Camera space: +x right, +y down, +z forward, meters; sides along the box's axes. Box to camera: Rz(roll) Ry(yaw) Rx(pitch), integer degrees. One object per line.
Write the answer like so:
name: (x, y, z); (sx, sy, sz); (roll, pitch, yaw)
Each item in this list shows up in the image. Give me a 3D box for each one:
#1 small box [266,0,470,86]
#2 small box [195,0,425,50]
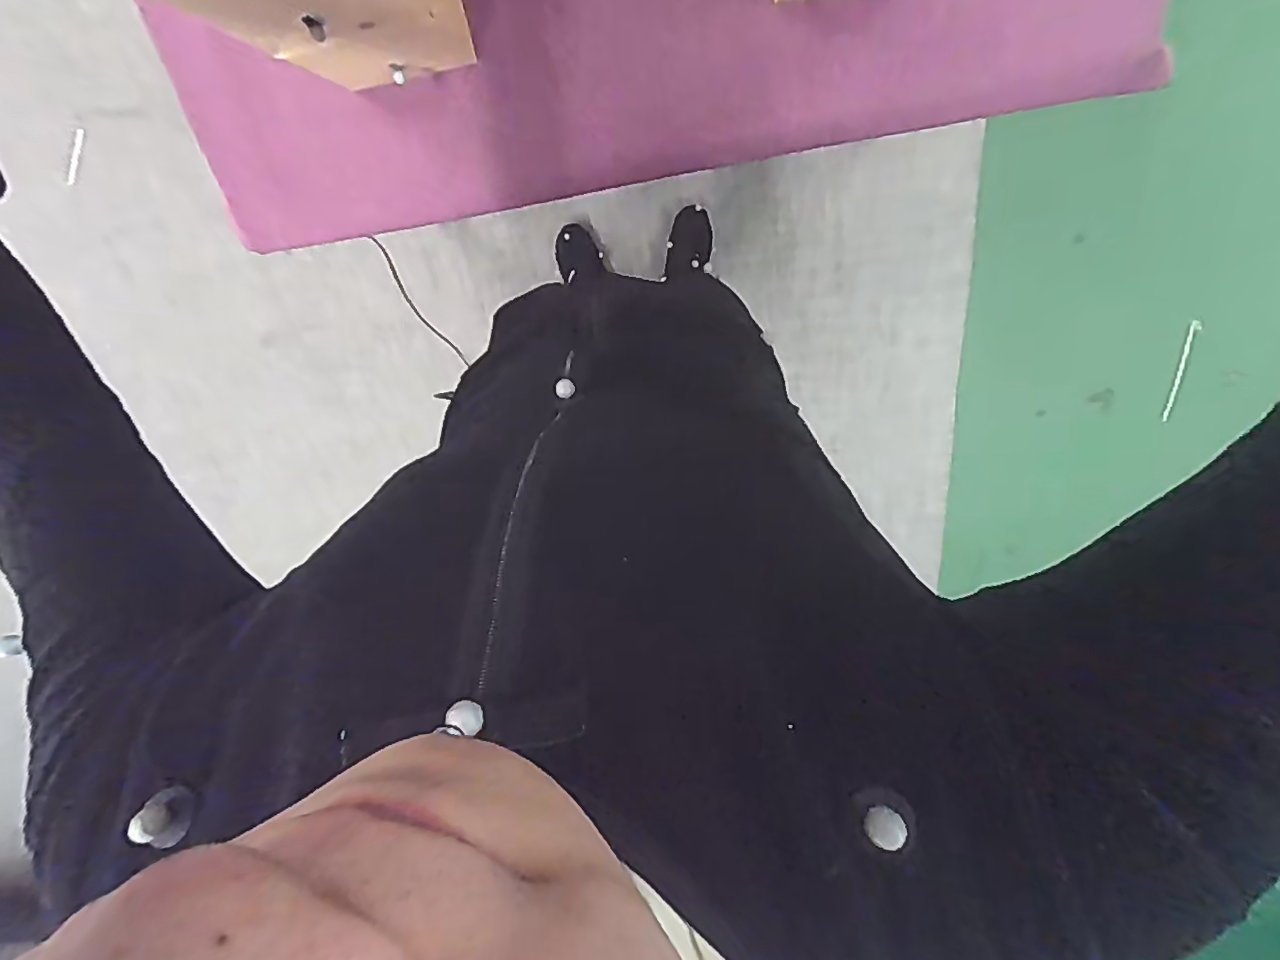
small box: (-0.297, -0.545, 0.560); (0.168, 0.176, 0.179); (-9, 116, 4)
small box: (-0.294, -0.474, 0.415); (0.168, 0.176, 0.179); (-11, 117, 4)
